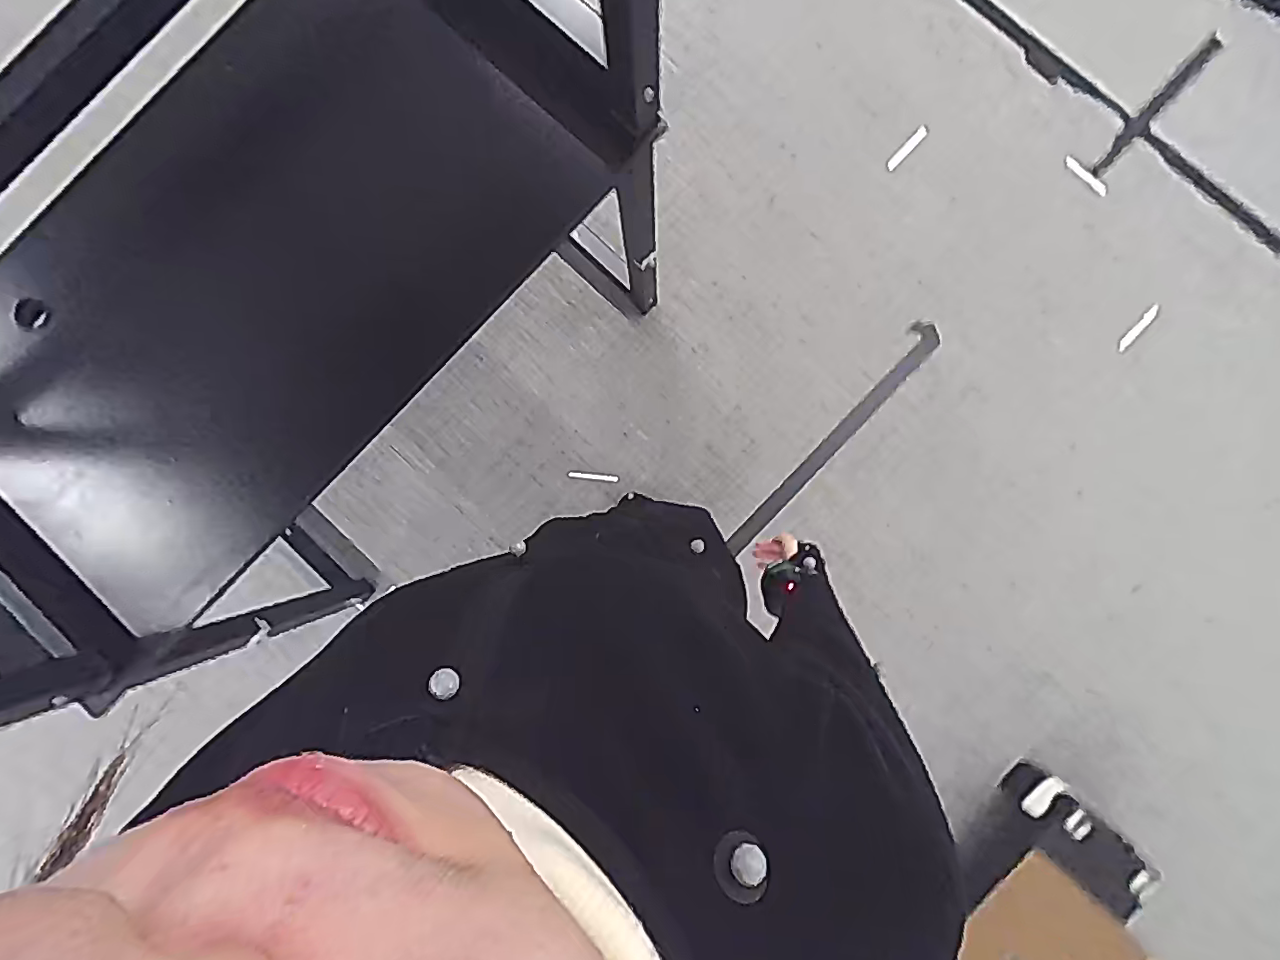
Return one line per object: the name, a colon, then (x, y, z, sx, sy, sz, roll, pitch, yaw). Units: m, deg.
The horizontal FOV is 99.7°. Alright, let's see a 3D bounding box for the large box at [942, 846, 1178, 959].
large box: (0.907, 1.084, 1.098, 0.320, 0.320, 0.408, 43, 89, 2)
